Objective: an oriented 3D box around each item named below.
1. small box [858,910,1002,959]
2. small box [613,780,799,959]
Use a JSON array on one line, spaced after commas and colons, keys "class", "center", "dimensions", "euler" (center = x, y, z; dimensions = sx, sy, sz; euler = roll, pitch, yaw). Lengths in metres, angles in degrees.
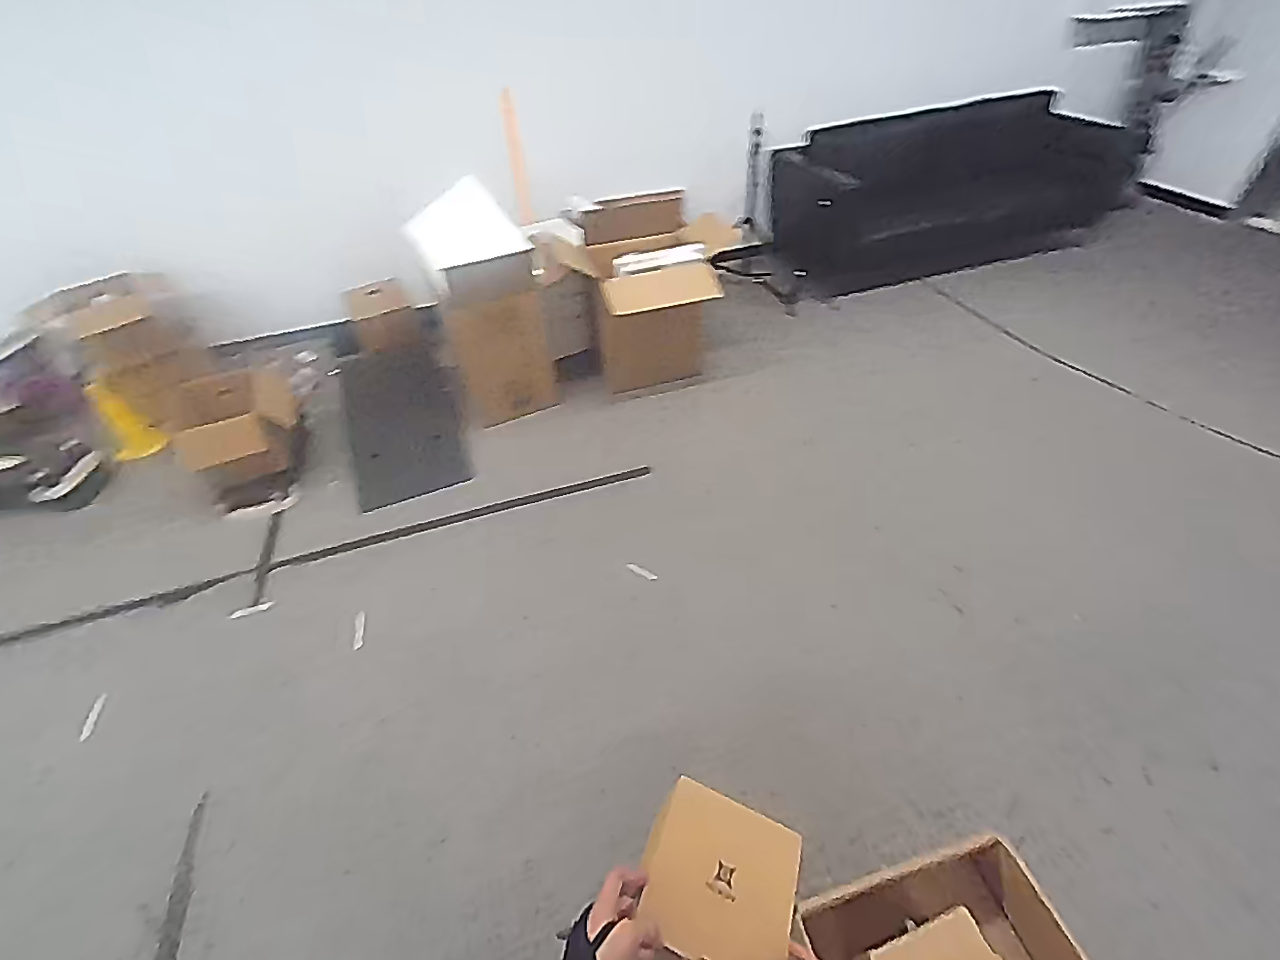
[{"class": "small box", "center": [0.451, 0.785, 0.811], "dimensions": [0.179, 0.176, 0.168], "euler": [-15, 45, -12]}, {"class": "small box", "center": [0.078, 0.520, 0.663], "dimensions": [0.168, 0.176, 0.179], "euler": [21, 39, 10]}]
